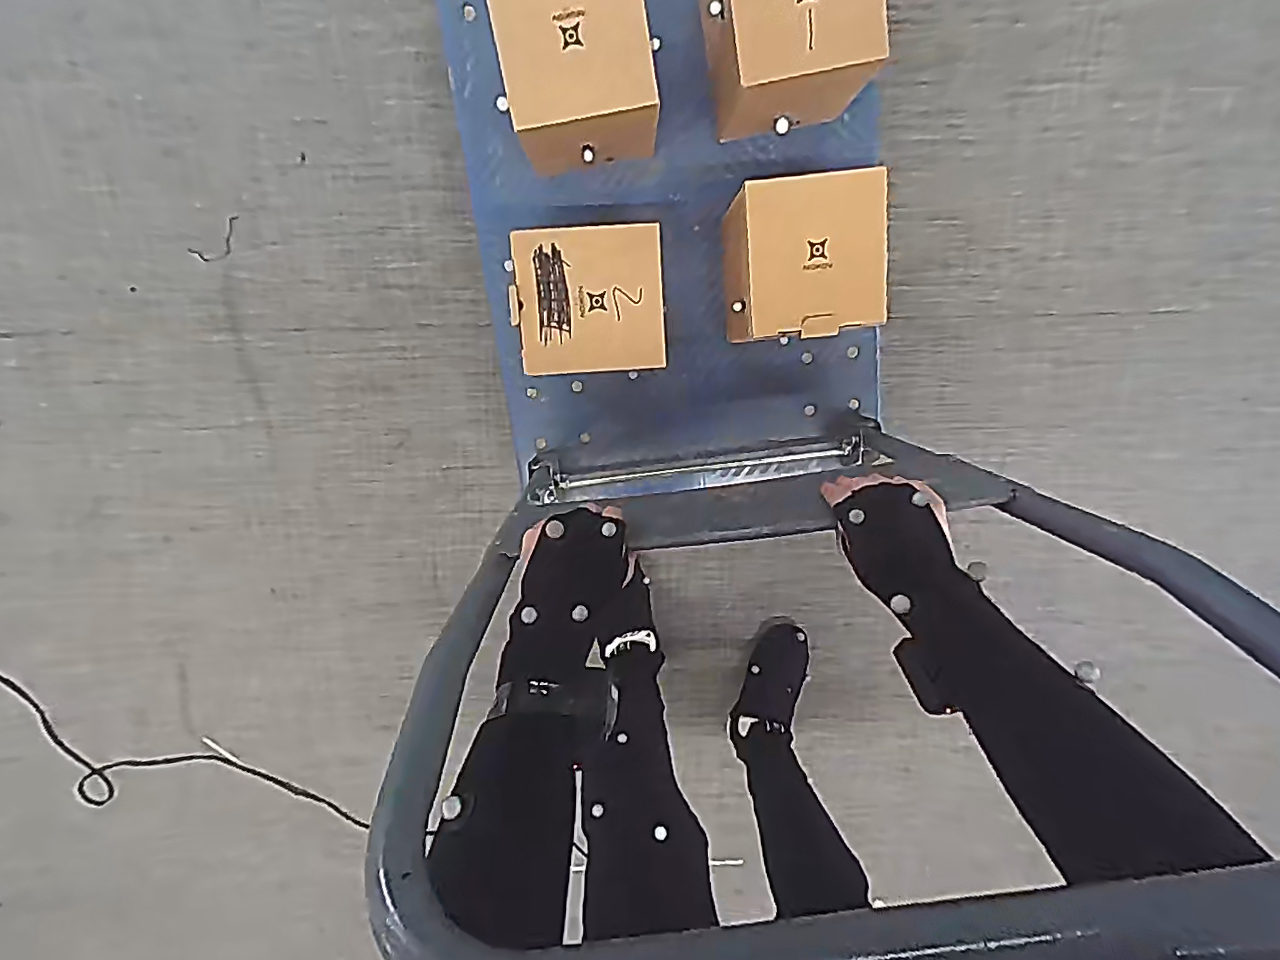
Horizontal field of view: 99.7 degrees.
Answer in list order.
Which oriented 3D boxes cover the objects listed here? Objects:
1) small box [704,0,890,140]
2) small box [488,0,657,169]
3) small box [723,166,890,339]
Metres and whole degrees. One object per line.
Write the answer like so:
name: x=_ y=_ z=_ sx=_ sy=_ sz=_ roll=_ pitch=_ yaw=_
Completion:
small box: x=0.175 y=-0.544 z=0.645 sx=0.168 sy=0.176 sz=0.179 roll=-10 pitch=104 yaw=2
small box: x=-0.074 y=-0.498 z=0.651 sx=0.168 sy=0.176 sz=0.179 roll=-10 pitch=103 yaw=1
small box: x=0.207 y=-0.283 z=0.708 sx=0.168 sy=0.176 sz=0.179 roll=-6 pitch=104 yaw=0
